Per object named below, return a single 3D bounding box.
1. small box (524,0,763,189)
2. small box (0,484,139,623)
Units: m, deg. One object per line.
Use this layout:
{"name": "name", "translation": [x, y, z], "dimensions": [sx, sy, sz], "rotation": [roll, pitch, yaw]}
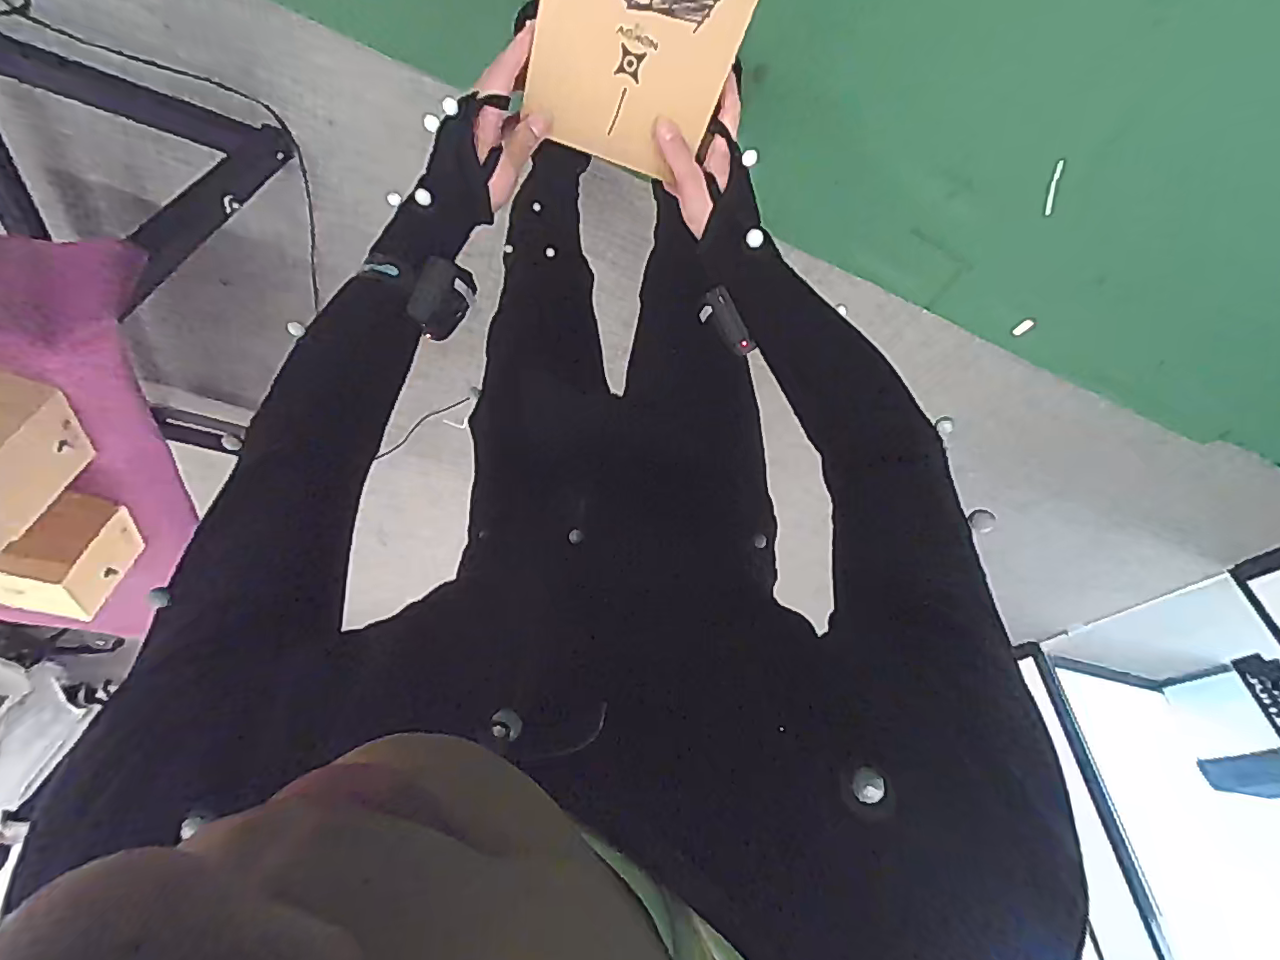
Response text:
{"name": "small box", "translation": [-0.007, -0.420, 0.506], "dimensions": [0.168, 0.176, 0.179], "rotation": [11, 139, -18]}
{"name": "small box", "translation": [-1.046, 0.130, 0.961], "dimensions": [0.179, 0.176, 0.168], "rotation": [20, 139, -17]}
